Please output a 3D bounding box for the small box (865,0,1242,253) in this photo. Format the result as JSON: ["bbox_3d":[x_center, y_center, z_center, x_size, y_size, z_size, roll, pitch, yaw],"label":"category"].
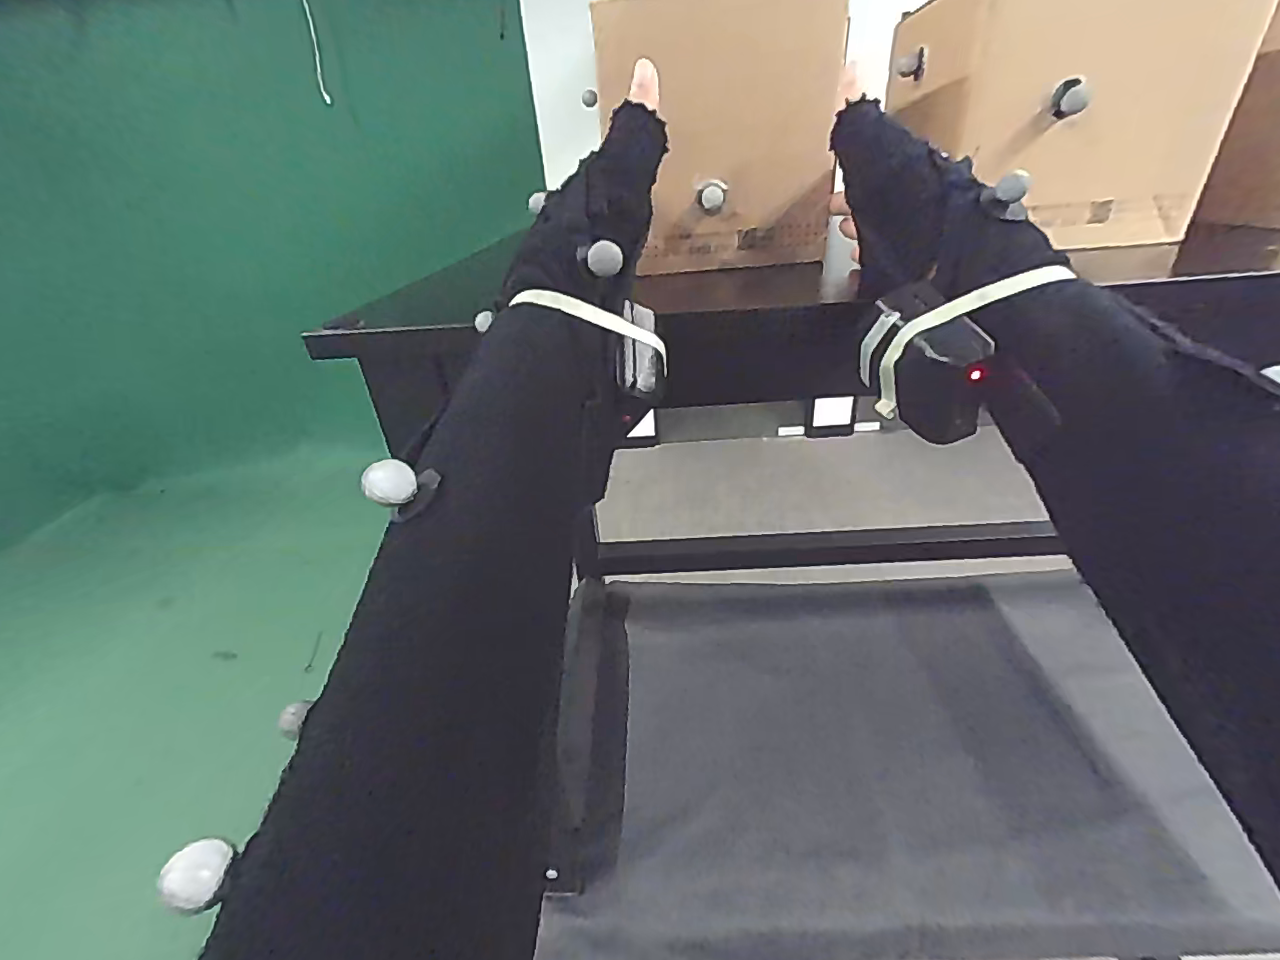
[{"bbox_3d":[0.286,-0.274,0.414,0.168,0.176,0.179,-2,30,5],"label":"small box"}]

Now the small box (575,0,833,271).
[{"bbox_3d":[0.043,-0.274,0.447,0.168,0.176,0.179,-5,30,0],"label":"small box"}]
